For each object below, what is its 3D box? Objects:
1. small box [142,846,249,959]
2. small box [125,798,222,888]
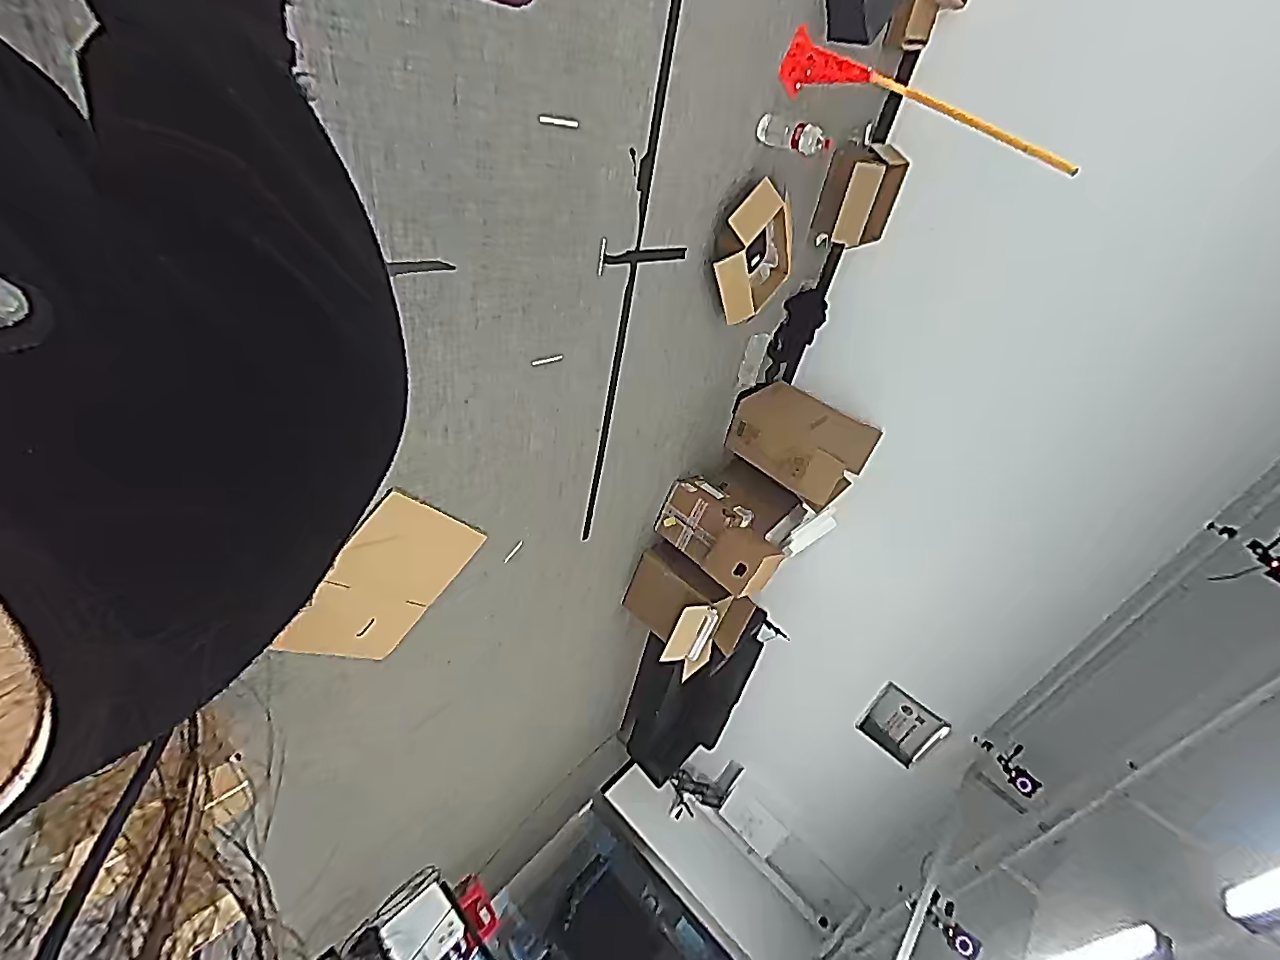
[{"bbox_3d":[-1.178,1.124,1.436,0.168,0.176,0.179,-24,138,-44],"label":"small box"},{"bbox_3d":[-1.295,1.032,1.507,0.168,0.176,0.179,-21,138,-46],"label":"small box"}]
